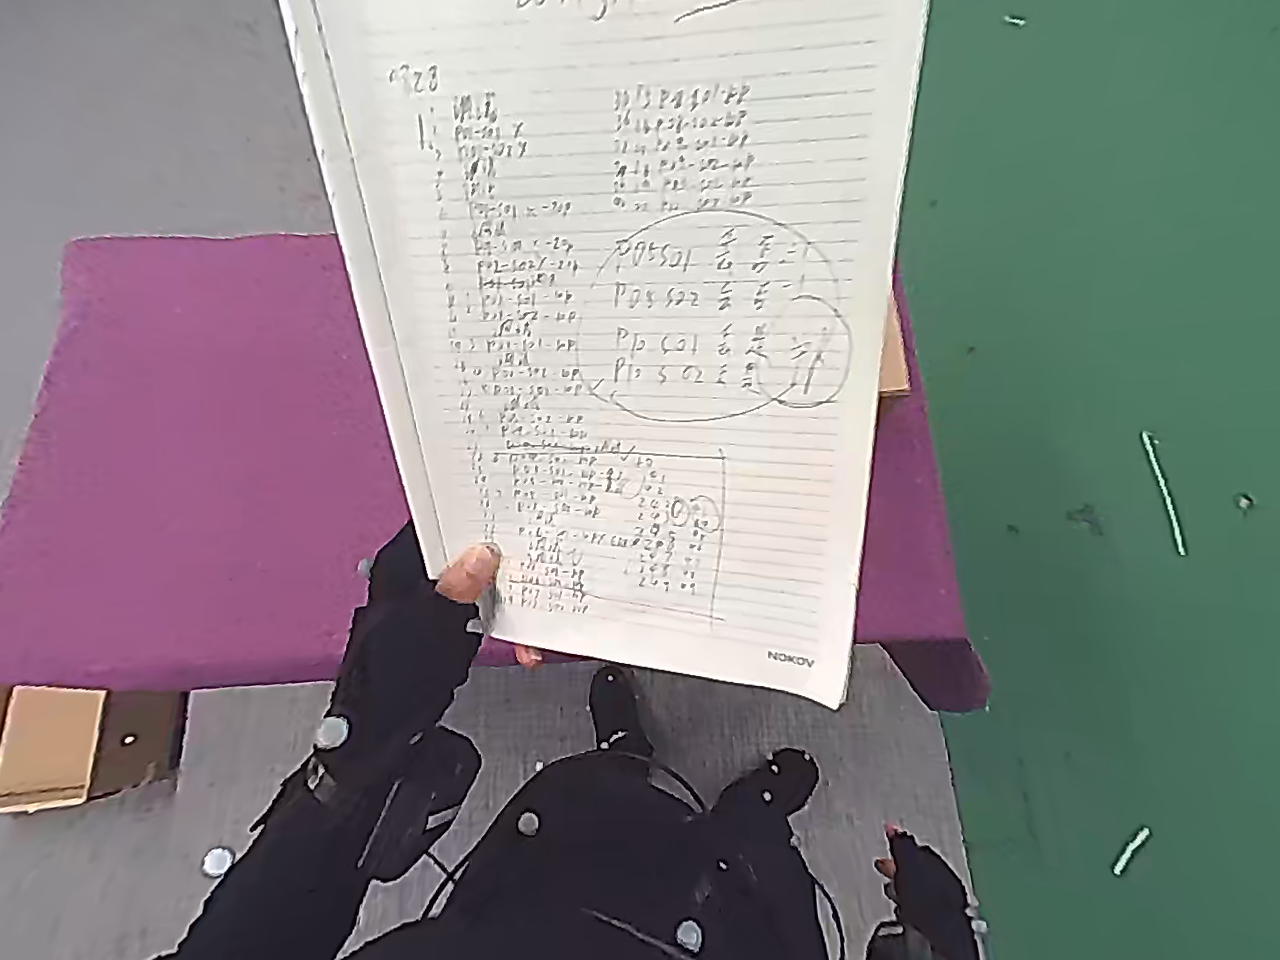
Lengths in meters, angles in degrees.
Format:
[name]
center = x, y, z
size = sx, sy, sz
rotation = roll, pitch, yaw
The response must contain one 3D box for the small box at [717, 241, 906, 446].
[small box]
center = 0.180, -0.142, 0.623
size = 0.168, 0.176, 0.179
rotation = -2, 74, 3
